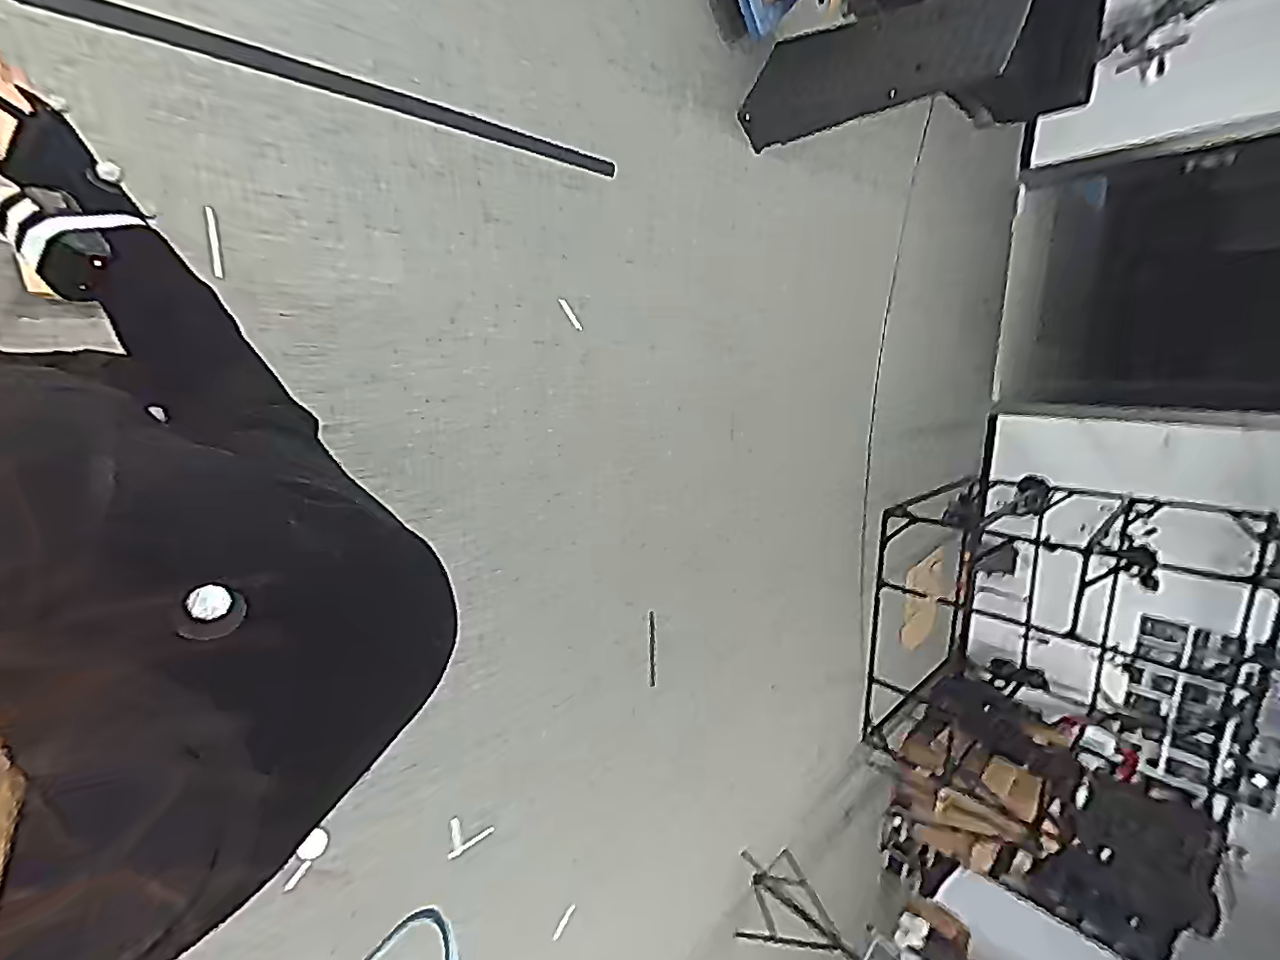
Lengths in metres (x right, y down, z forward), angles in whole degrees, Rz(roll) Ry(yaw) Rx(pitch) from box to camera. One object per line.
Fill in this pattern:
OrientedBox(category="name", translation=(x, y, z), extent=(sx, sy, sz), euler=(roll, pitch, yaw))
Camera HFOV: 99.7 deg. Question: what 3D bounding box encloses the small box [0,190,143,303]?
OrientedBox(category="small box", translation=(-1.097, -0.441, 1.053), extent=(0.168, 0.176, 0.179), euler=(-15, 109, -41))
